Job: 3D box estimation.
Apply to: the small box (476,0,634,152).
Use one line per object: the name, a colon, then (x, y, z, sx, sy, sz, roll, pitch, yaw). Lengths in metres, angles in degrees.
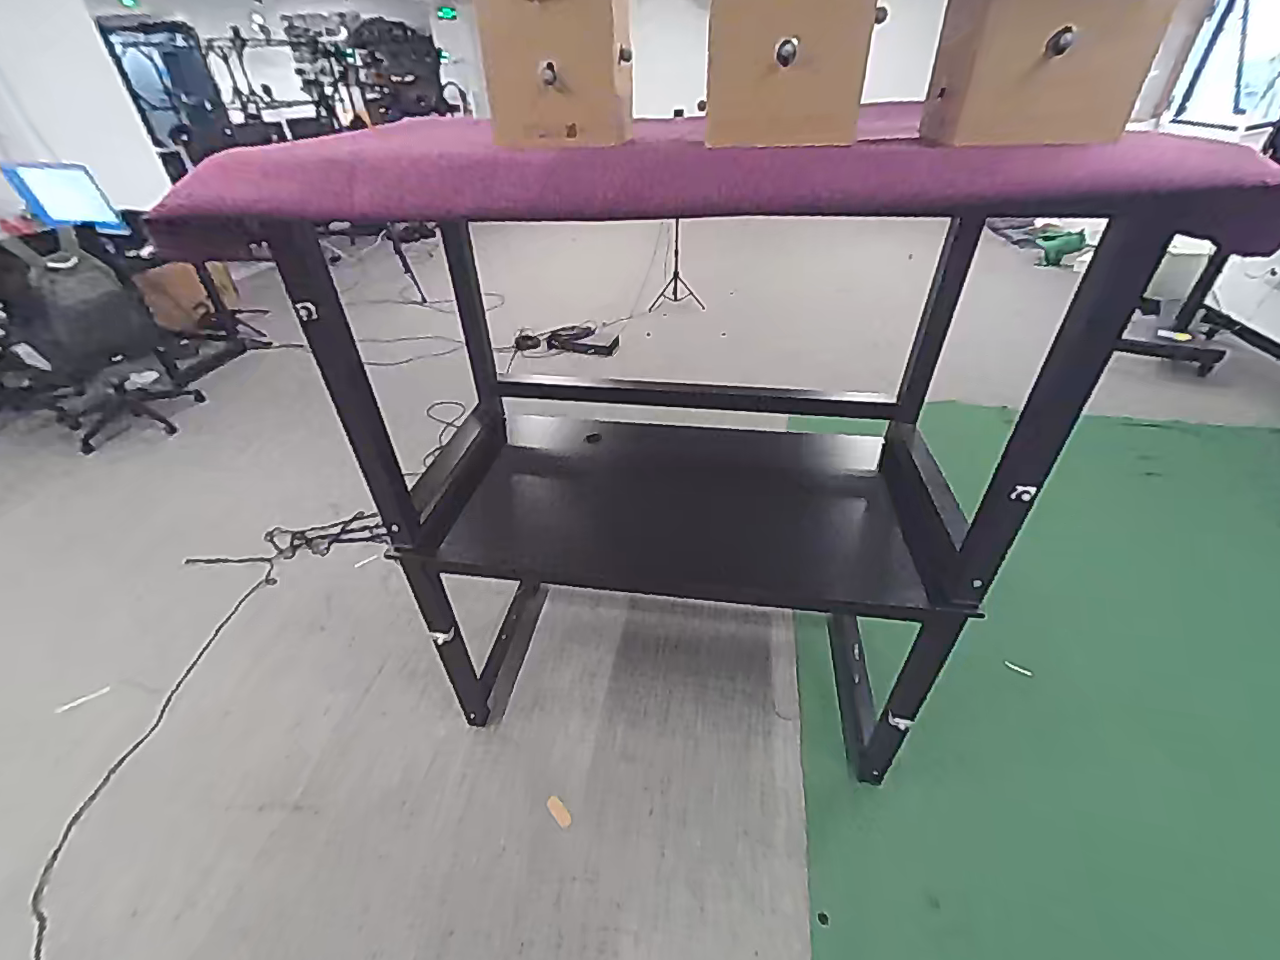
small box: (-0.098, -0.545, 0.726, 0.168, 0.176, 0.179, 3, 36, 5)

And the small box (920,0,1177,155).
small box: (0.451, -0.483, 0.621, 0.179, 0.176, 0.168, 4, 37, 10)
